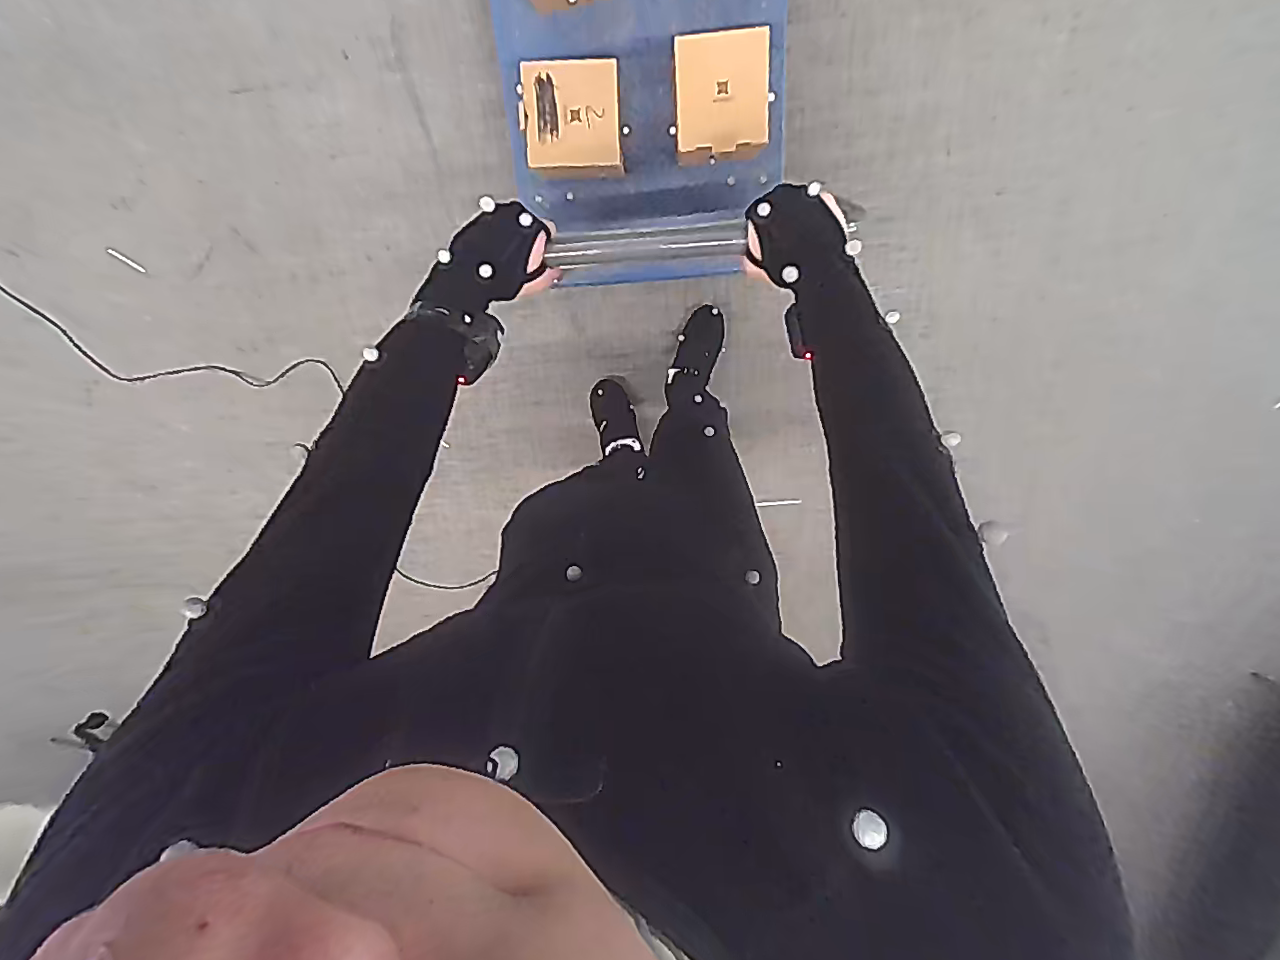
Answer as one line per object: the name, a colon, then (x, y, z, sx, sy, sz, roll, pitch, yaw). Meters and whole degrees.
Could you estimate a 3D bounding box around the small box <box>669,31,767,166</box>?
small box: (0.145, -0.723, 1.043, 0.168, 0.176, 0.179, -4, 113, 3)

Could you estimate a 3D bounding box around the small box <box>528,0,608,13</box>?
small box: (-0.142, -0.963, 0.949, 0.168, 0.176, 0.179, -9, 112, 5)
